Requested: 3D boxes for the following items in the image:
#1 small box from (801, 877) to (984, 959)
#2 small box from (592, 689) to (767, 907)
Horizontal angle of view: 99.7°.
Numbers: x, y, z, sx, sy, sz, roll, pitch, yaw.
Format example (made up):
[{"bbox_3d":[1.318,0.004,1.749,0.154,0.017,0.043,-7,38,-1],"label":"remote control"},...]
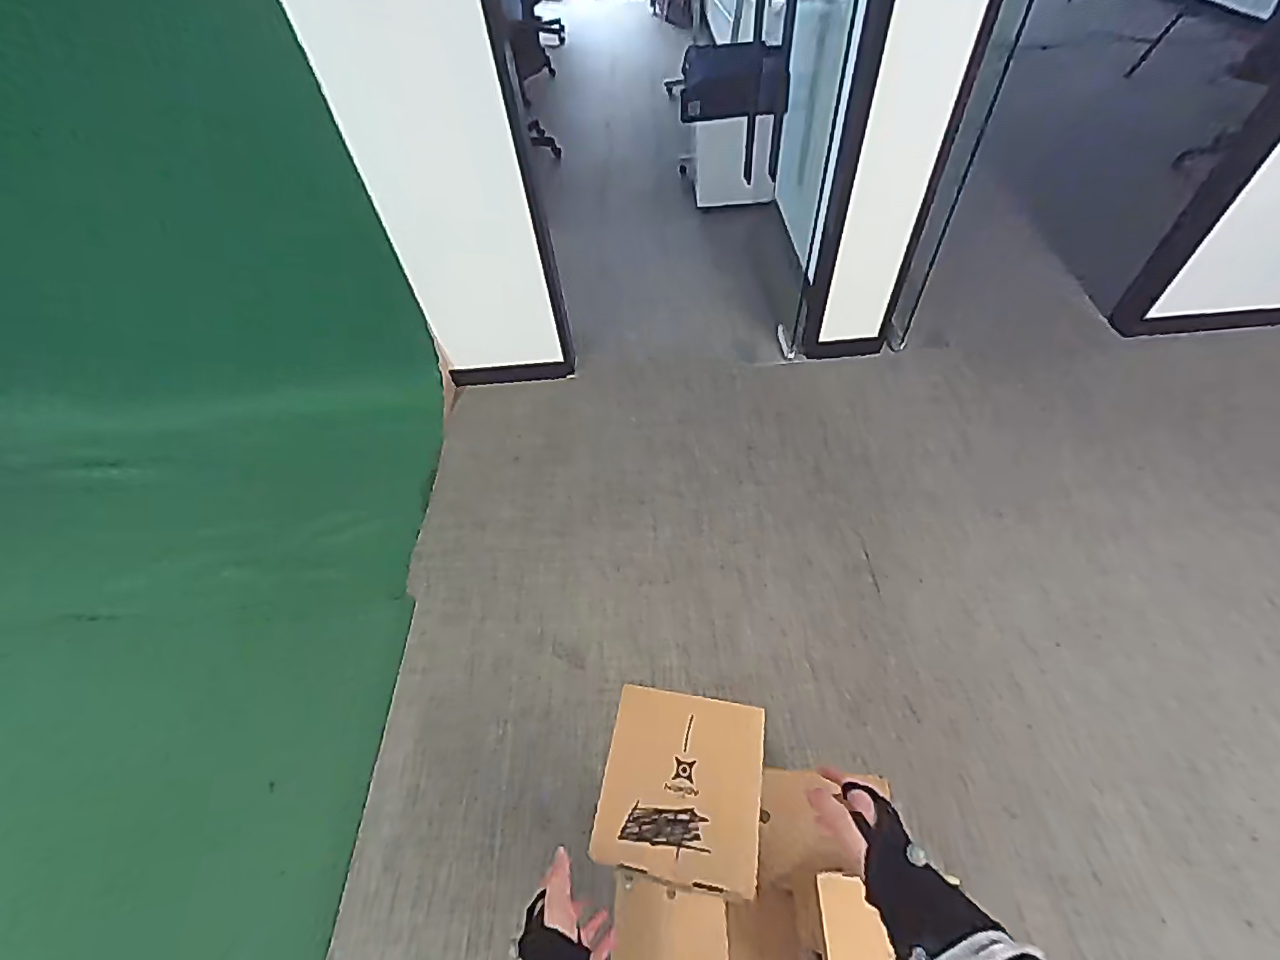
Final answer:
[{"bbox_3d":[0.297,0.585,0.643,0.168,0.176,0.179,-2,51,4],"label":"small box"},{"bbox_3d":[0.054,0.370,0.628,0.168,0.176,0.179,6,50,11],"label":"small box"}]
